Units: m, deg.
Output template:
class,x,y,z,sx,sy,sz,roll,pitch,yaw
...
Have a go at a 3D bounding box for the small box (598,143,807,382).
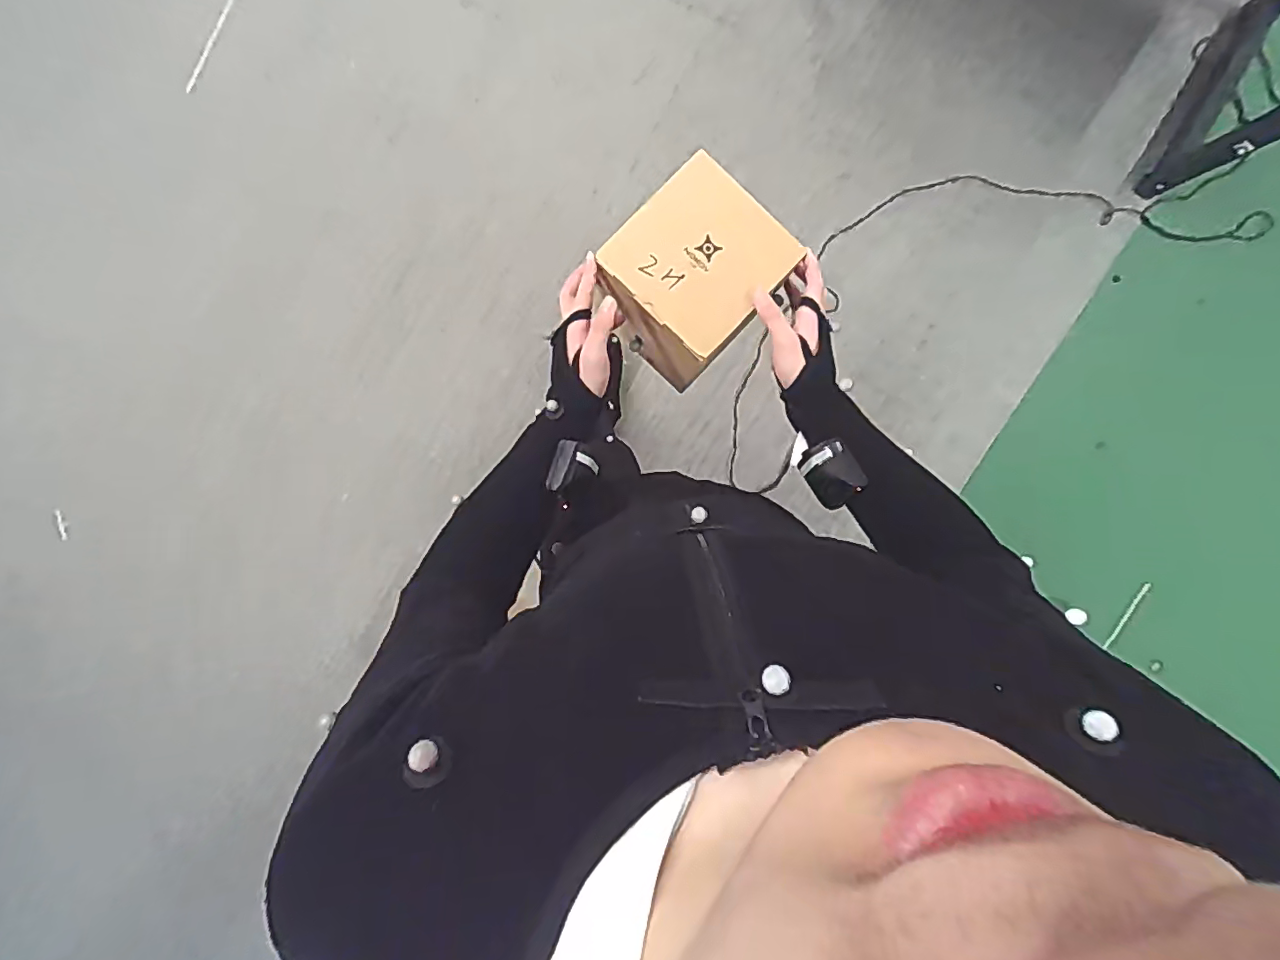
class,x,y,z,sx,sy,sz,roll,pitch,yaw
small box,0.063,-0.249,0.663,0.168,0.176,0.179,45,85,0
